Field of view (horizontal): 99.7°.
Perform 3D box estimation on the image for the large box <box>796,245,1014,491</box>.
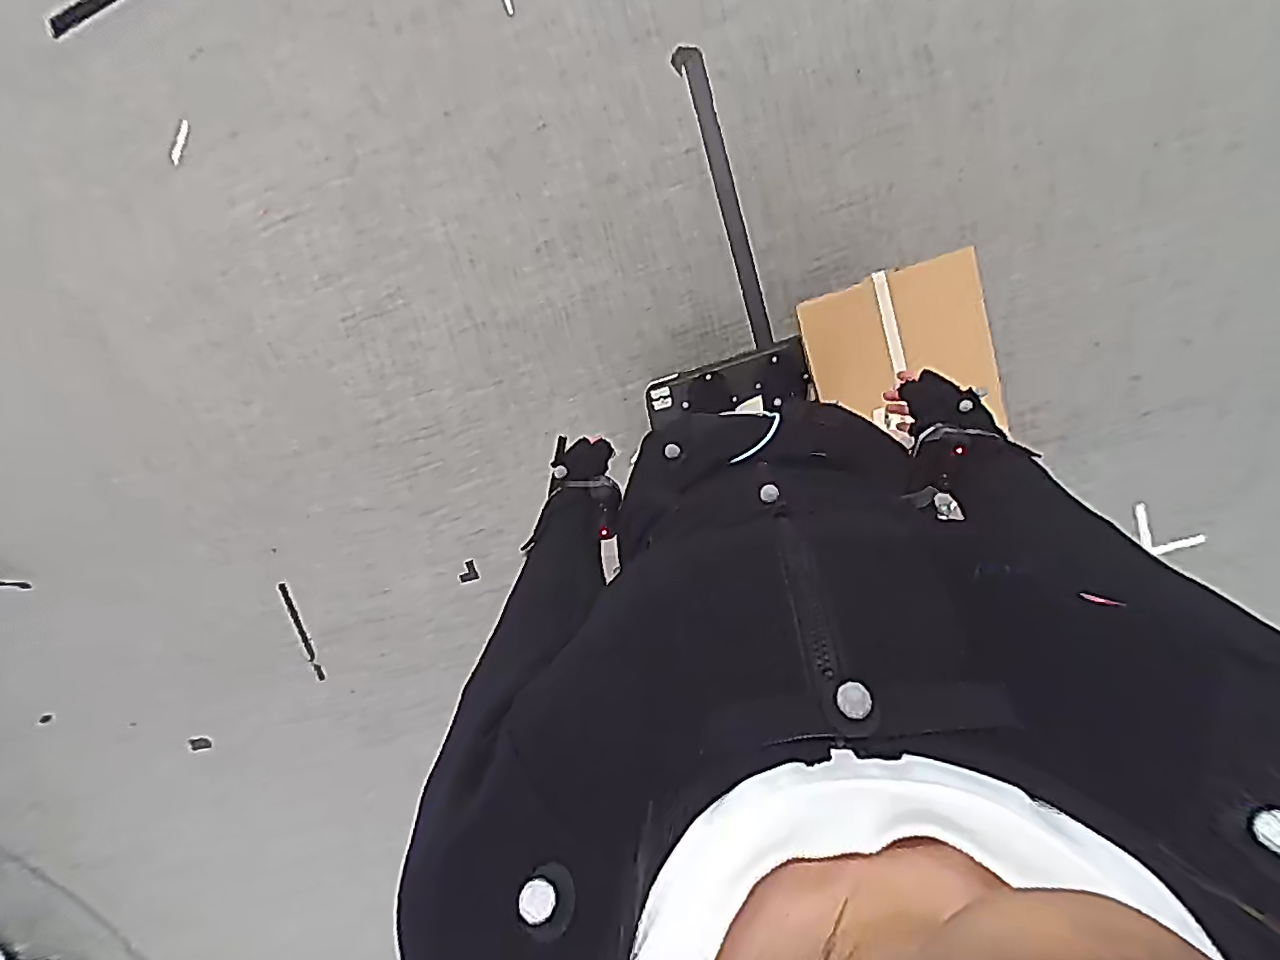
[{"bbox_3d":[0.547,-0.240,1.177,0.320,0.320,0.408,-15,103,20],"label":"large box"}]
